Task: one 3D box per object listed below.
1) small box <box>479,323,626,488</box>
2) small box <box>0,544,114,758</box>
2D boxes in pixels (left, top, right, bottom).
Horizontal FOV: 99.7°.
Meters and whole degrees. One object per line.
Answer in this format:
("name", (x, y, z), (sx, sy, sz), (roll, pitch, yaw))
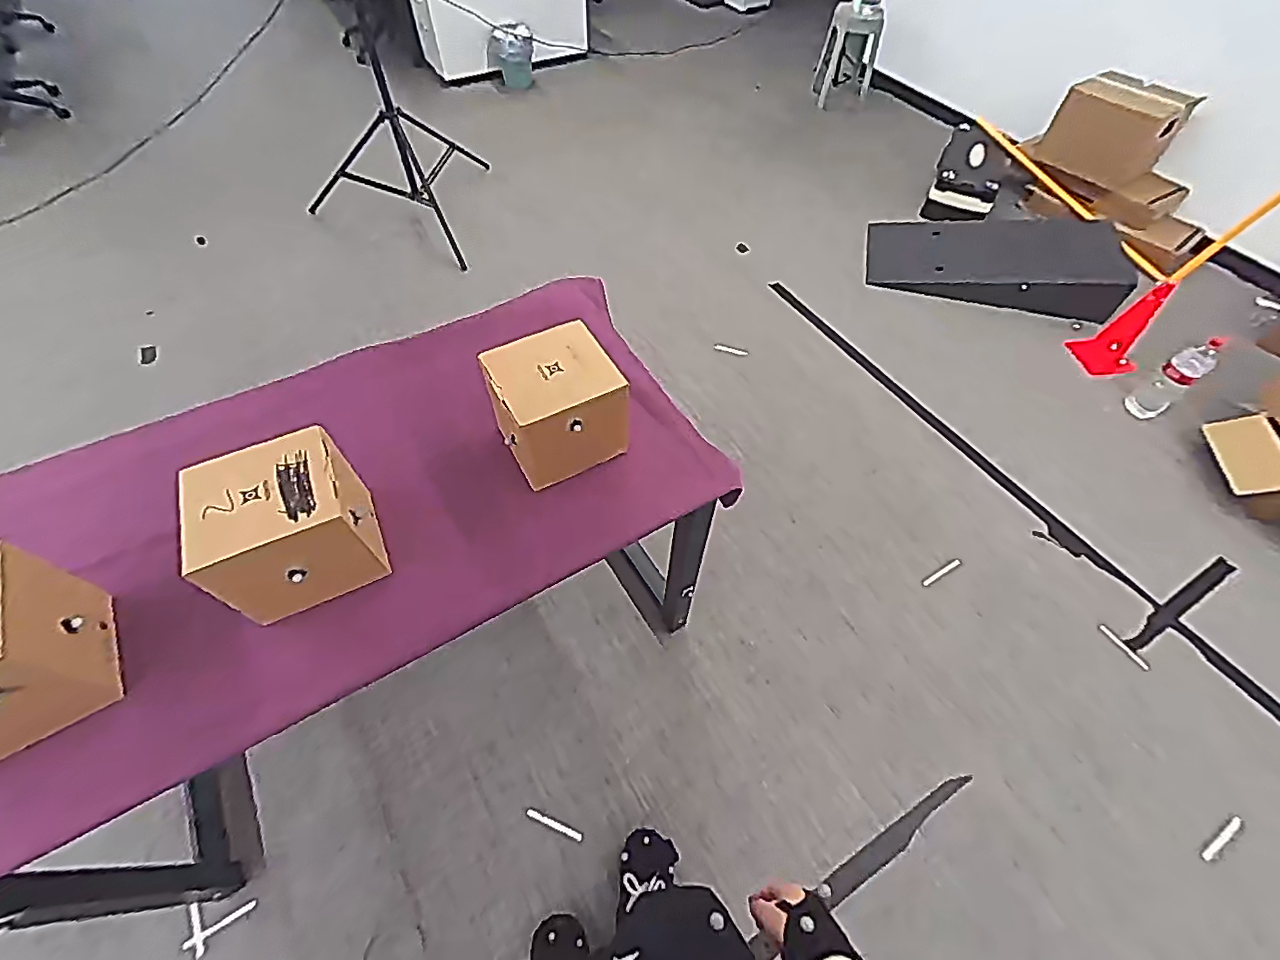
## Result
("small box", (-0.133, -0.115, 0.871), (0.179, 0.176, 0.168), (-24, 60, -18))
("small box", (-0.765, 0.211, 0.626), (0.179, 0.176, 0.168), (-28, 59, -19))
